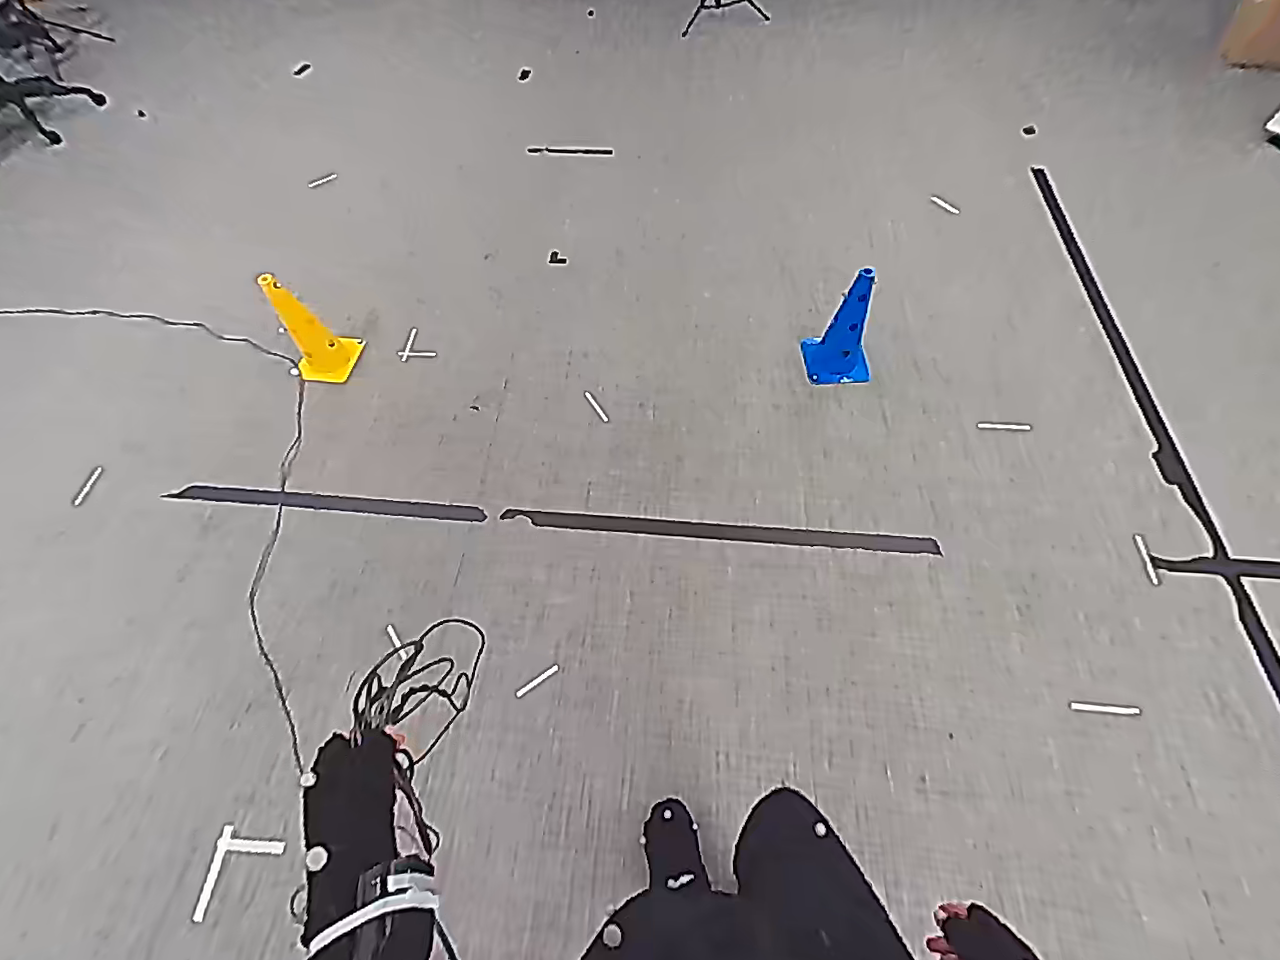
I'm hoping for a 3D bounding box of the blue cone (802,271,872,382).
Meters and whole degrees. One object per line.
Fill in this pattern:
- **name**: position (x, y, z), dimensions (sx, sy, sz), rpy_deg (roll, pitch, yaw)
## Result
- **blue cone**: position (0.632, -0.481, 1.651), dimensions (0.193, 0.380, 0.192), rpy_deg (-2, 61, 3)
